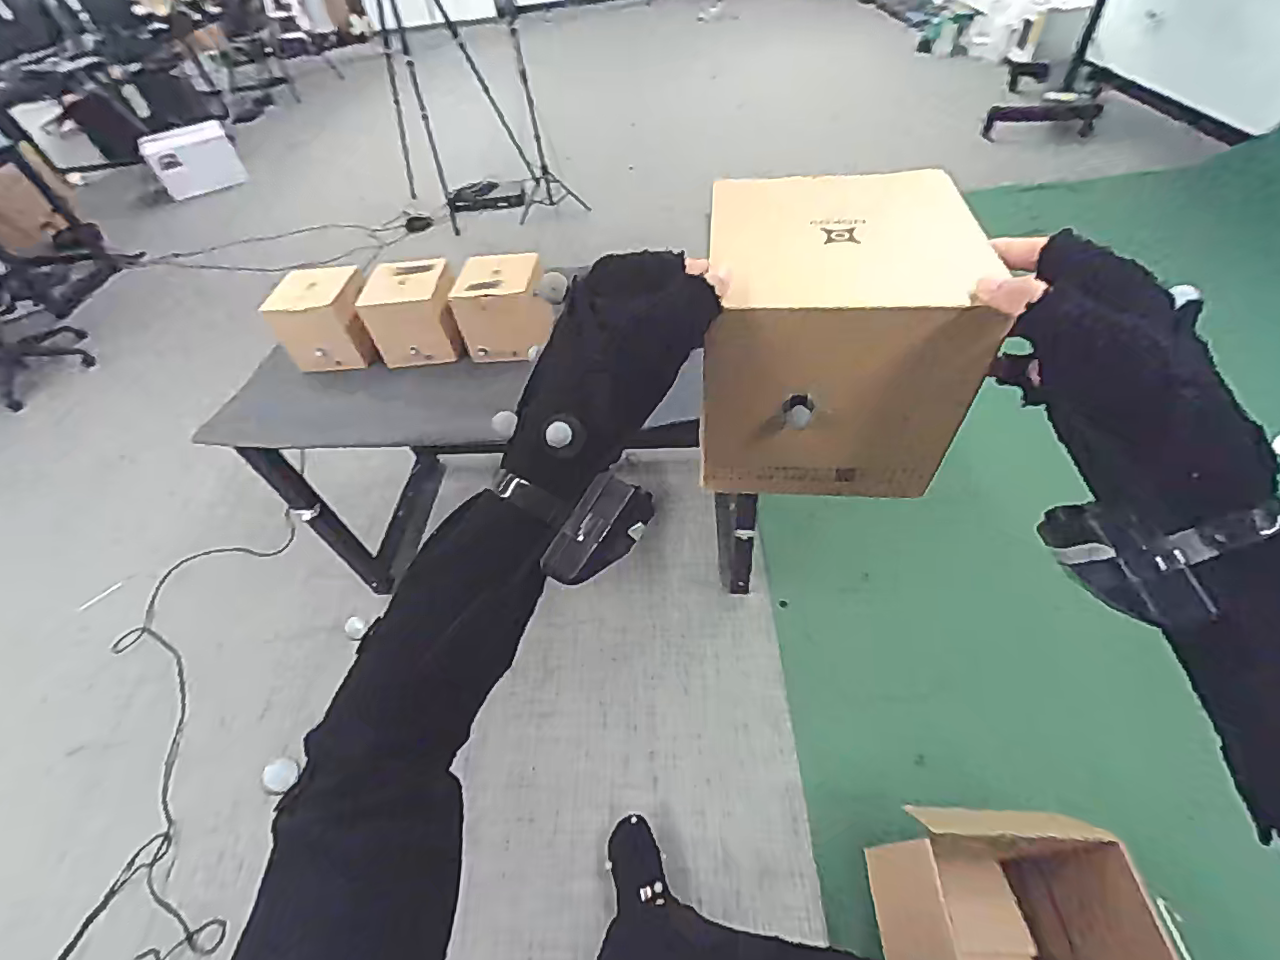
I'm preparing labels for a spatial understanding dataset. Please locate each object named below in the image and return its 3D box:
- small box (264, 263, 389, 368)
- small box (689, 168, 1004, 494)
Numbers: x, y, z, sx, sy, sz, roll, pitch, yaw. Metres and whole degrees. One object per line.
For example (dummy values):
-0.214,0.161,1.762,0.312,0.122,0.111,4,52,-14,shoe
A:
-0.720,-0.384,1.269,0.168,0.176,0.179,-3,50,5,small box
0.124,-0.104,0.401,0.168,0.176,0.179,1,50,7,small box
